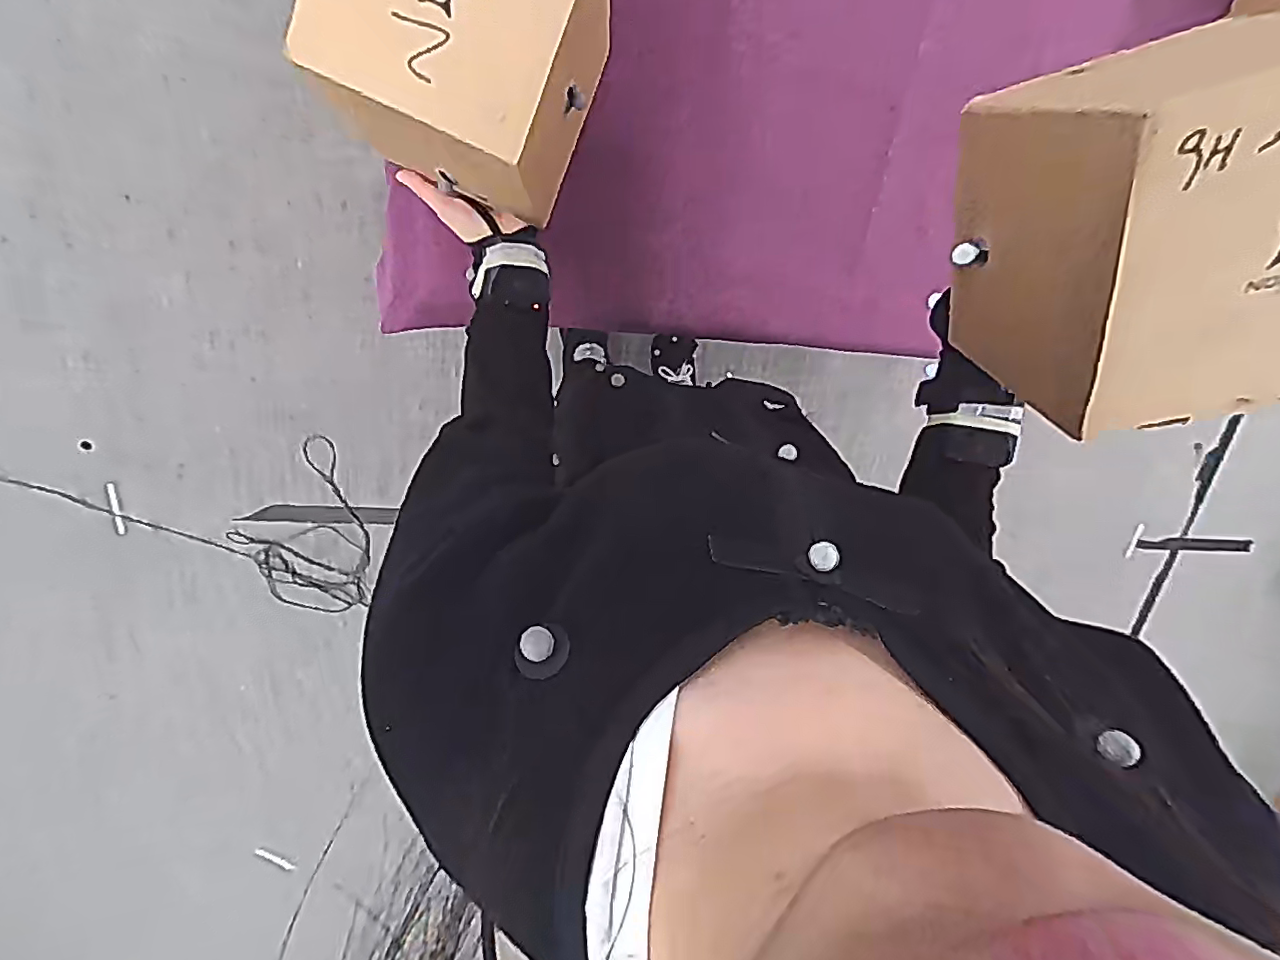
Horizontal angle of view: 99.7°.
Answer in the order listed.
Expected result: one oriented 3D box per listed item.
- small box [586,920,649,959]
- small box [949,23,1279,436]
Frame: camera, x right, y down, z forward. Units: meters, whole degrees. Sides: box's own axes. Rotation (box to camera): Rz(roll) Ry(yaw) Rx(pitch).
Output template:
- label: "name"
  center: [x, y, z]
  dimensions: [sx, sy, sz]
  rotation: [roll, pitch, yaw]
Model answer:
- label: "small box"
  center: [-0.070, 1.556, 1.735]
  dimensions: [0.179, 0.176, 0.168]
  rotation: [10, 109, -12]
- label: "small box"
  center: [0.317, -0.157, 0.337]
  dimensions: [0.168, 0.176, 0.179]
  rotation: [-13, 125, 8]
